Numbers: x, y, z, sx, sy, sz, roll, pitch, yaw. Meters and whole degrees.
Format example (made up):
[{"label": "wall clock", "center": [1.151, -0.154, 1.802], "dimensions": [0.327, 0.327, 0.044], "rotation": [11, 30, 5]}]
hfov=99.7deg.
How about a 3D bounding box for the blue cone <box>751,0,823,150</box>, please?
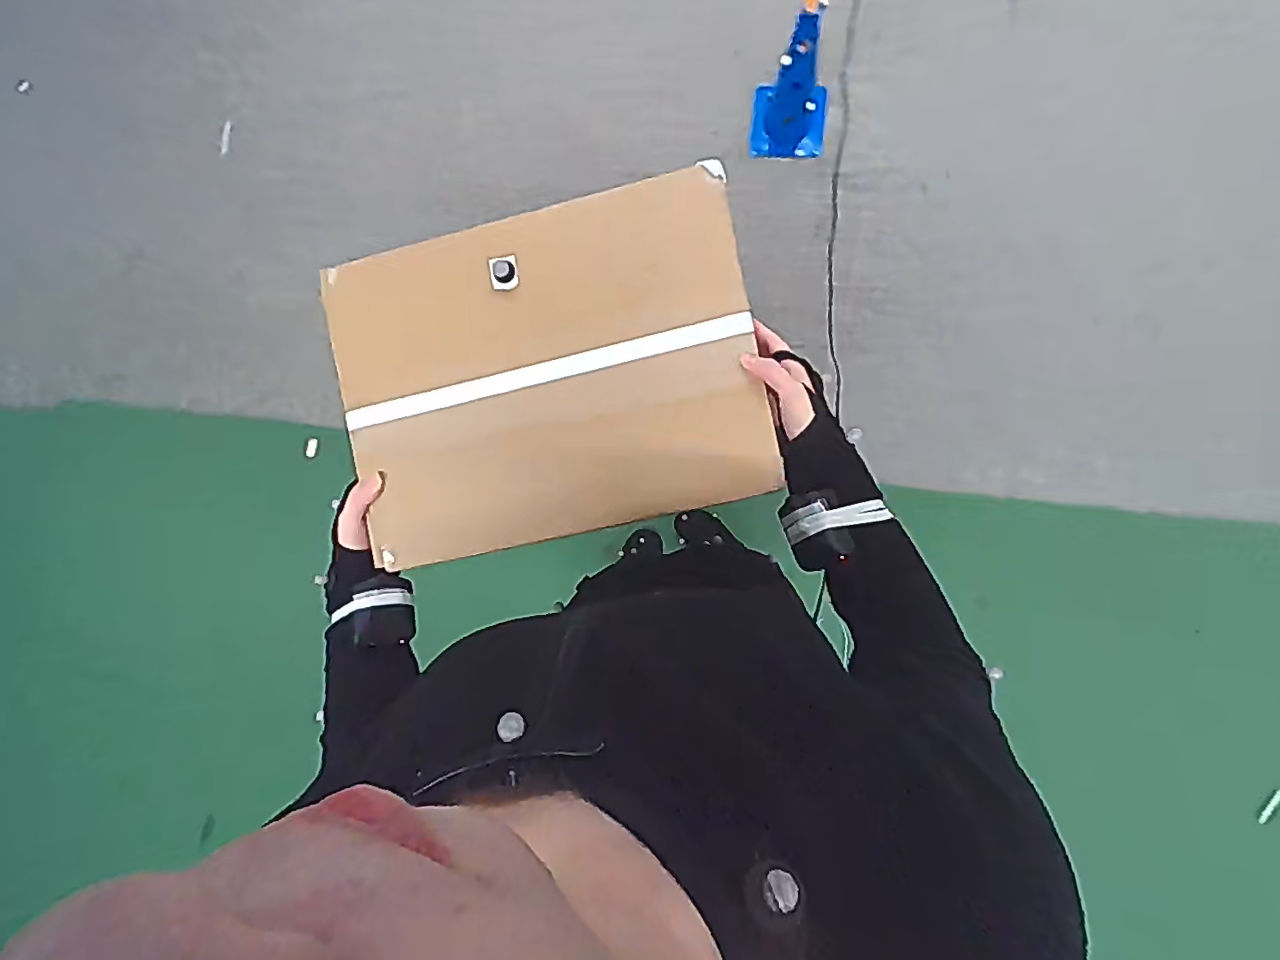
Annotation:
[{"label": "blue cone", "center": [0.375, -0.999, 1.310], "dimensions": [0.193, 0.380, 0.192], "rotation": [3, 89, 9]}]
